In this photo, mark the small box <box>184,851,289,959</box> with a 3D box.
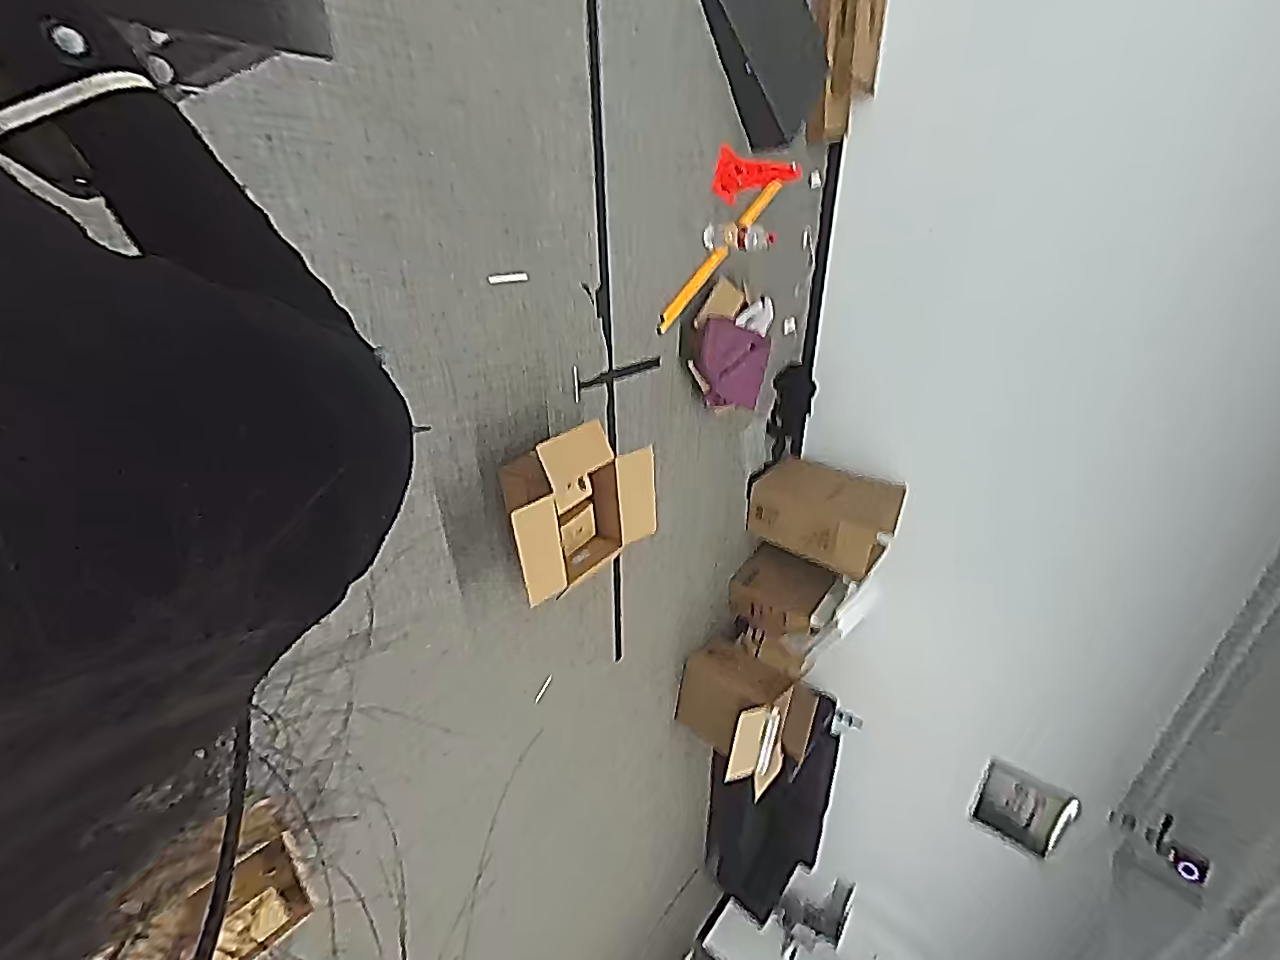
[{"bbox_3d":[-1.123,1.194,1.507,0.179,0.176,0.168,-26,124,-42],"label":"small box"}]
